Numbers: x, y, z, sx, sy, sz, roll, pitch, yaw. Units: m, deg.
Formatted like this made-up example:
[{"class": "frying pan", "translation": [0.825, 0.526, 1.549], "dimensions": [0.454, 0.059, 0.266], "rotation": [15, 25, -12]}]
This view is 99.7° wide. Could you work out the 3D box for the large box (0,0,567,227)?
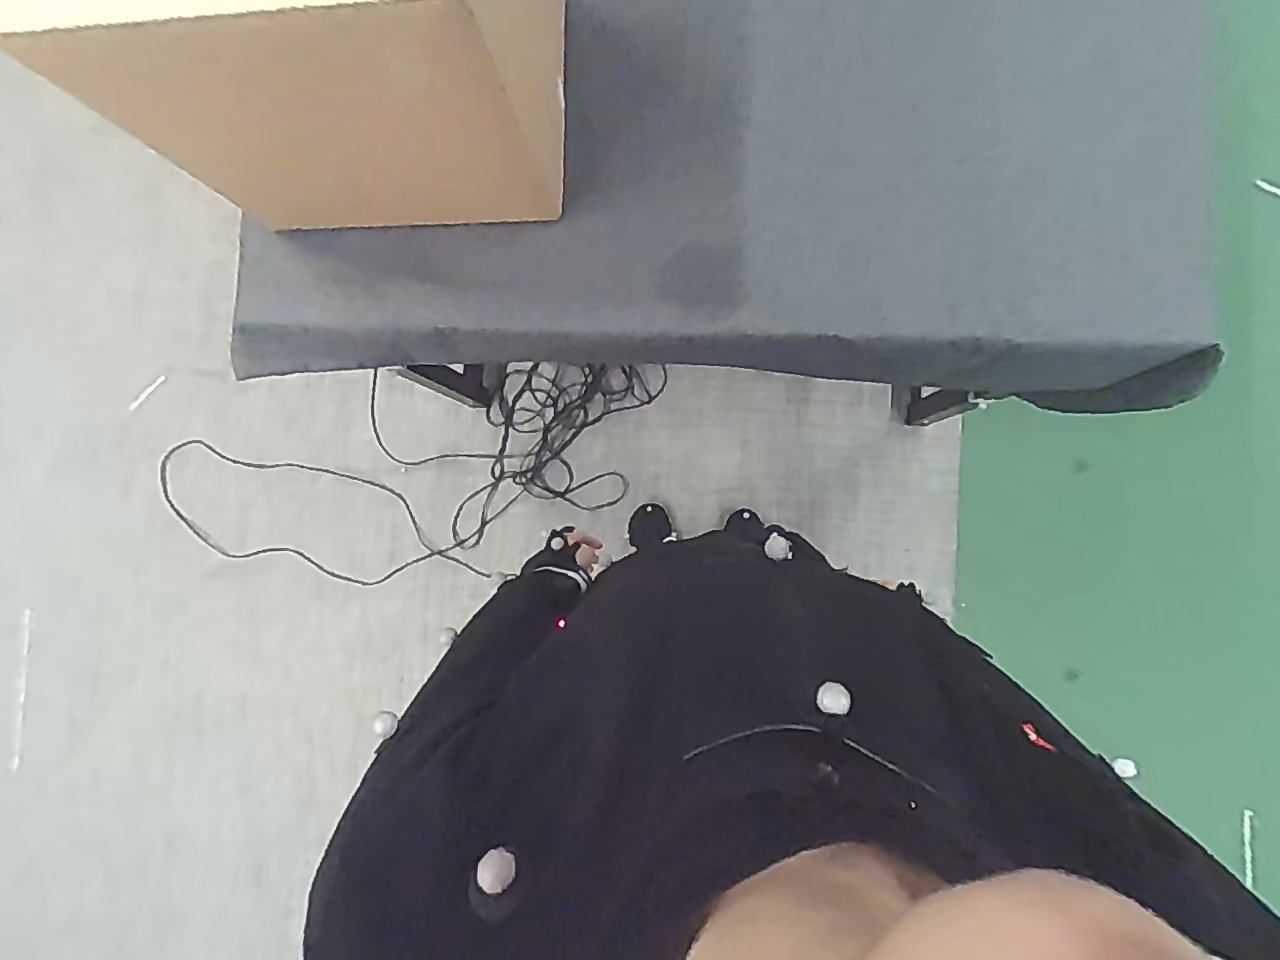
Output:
[{"class": "large box", "translation": [-0.303, -0.497, 0.566], "dimensions": [0.408, 0.320, 0.320], "rotation": [0, 88, 4]}]
